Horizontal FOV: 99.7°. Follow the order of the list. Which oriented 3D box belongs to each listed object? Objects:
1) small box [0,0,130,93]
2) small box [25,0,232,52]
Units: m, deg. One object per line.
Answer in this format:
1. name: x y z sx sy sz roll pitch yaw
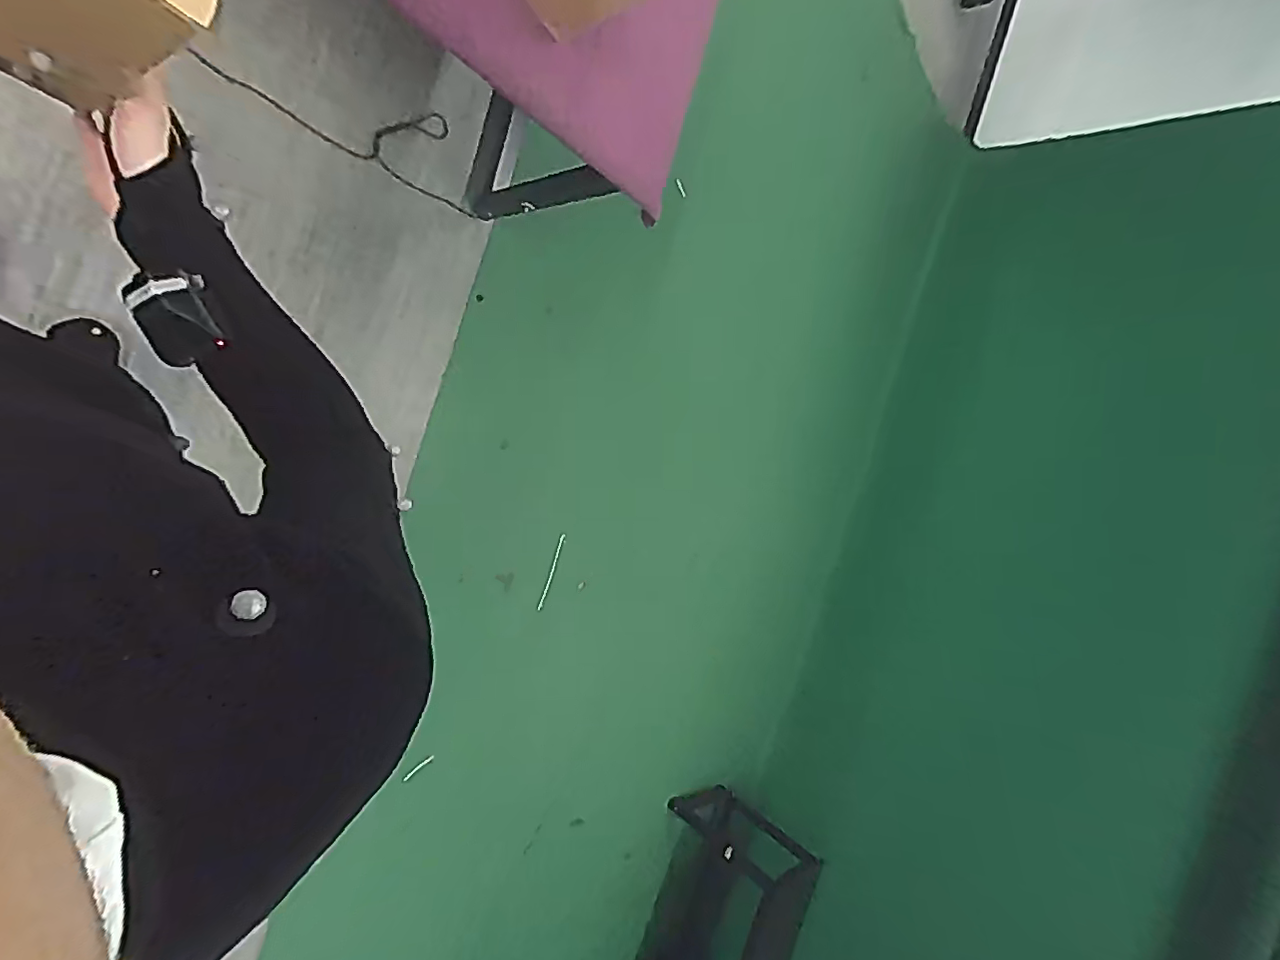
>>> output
1. small box: -0.512 -0.442 0.422 0.179 0.176 0.168 18 94 -52
2. small box: -0.278 -0.324 0.226 0.179 0.176 0.168 14 98 -52
